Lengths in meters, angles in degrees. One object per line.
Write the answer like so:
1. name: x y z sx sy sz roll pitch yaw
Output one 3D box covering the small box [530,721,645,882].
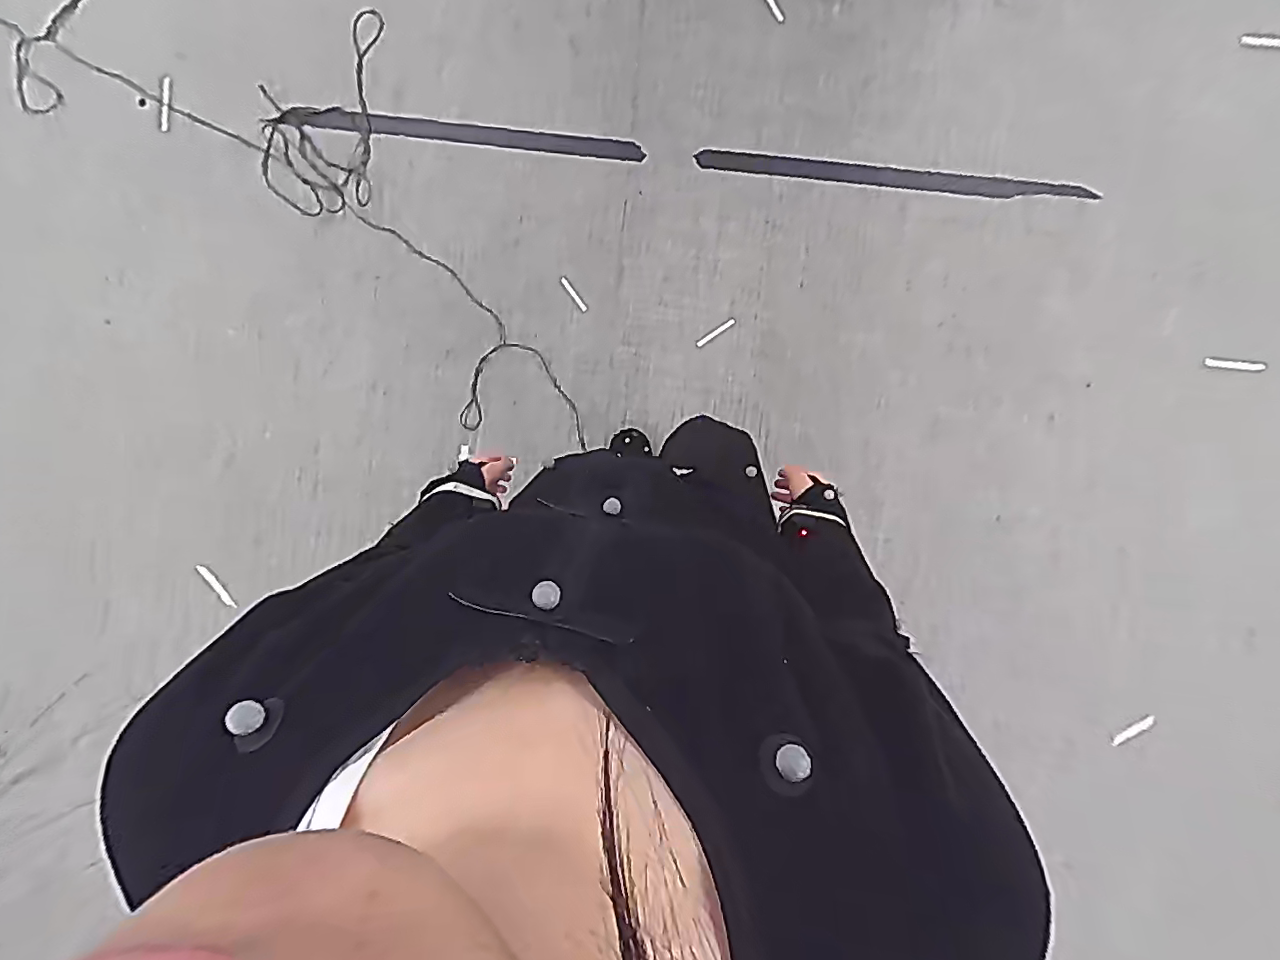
1. small box: -0.087 0.564 0.971 0.168 0.176 0.179 10 93 1
